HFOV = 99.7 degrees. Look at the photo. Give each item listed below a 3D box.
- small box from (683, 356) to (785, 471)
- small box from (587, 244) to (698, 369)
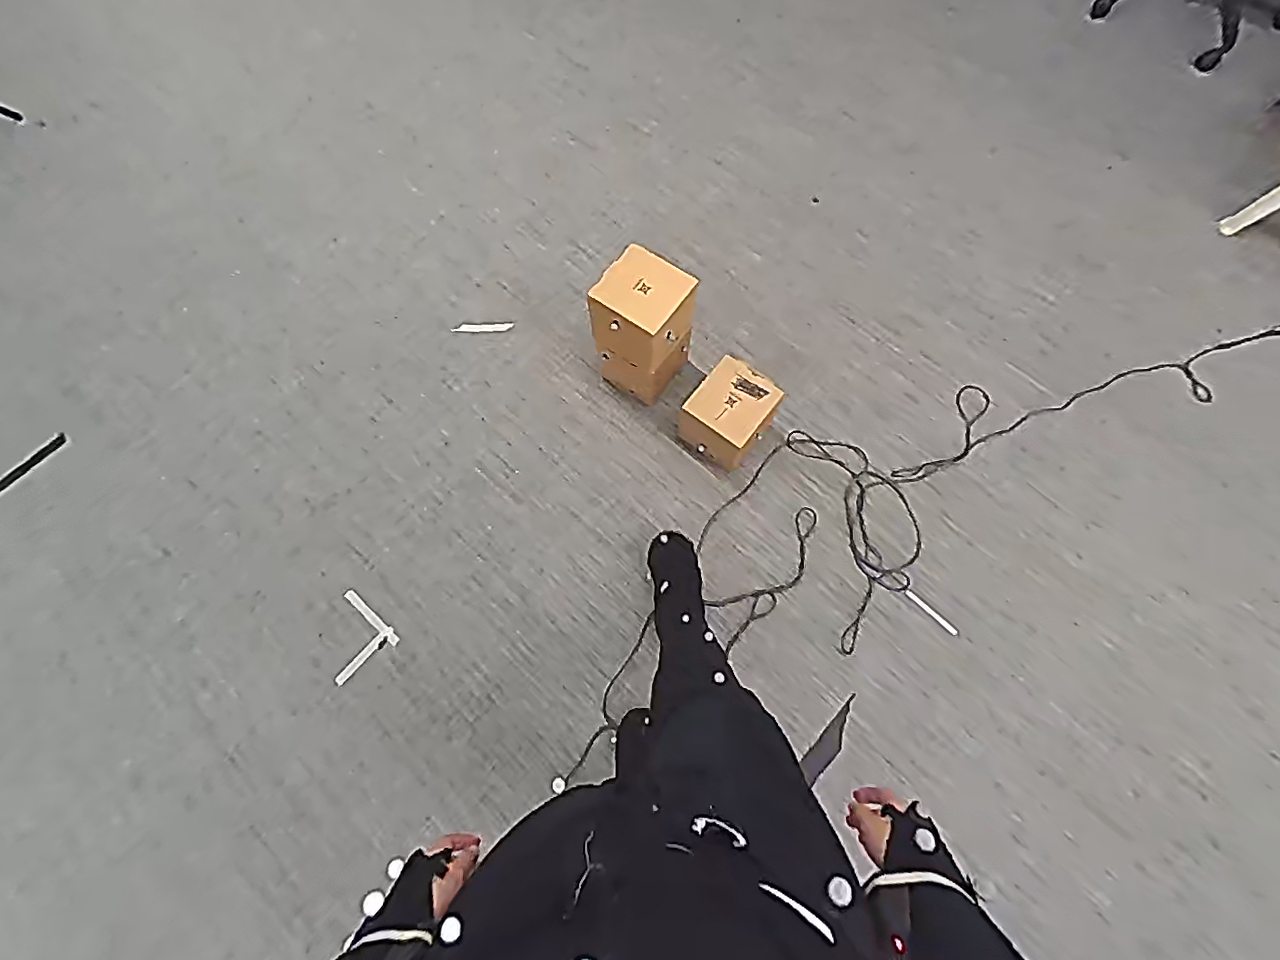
[{"bbox_3d":[0.214,-0.153,1.289,0.168,0.176,0.179,37,77,13],"label":"small box"},{"bbox_3d":[0.008,-0.371,1.194,0.179,0.176,0.168,34,75,12],"label":"small box"}]
